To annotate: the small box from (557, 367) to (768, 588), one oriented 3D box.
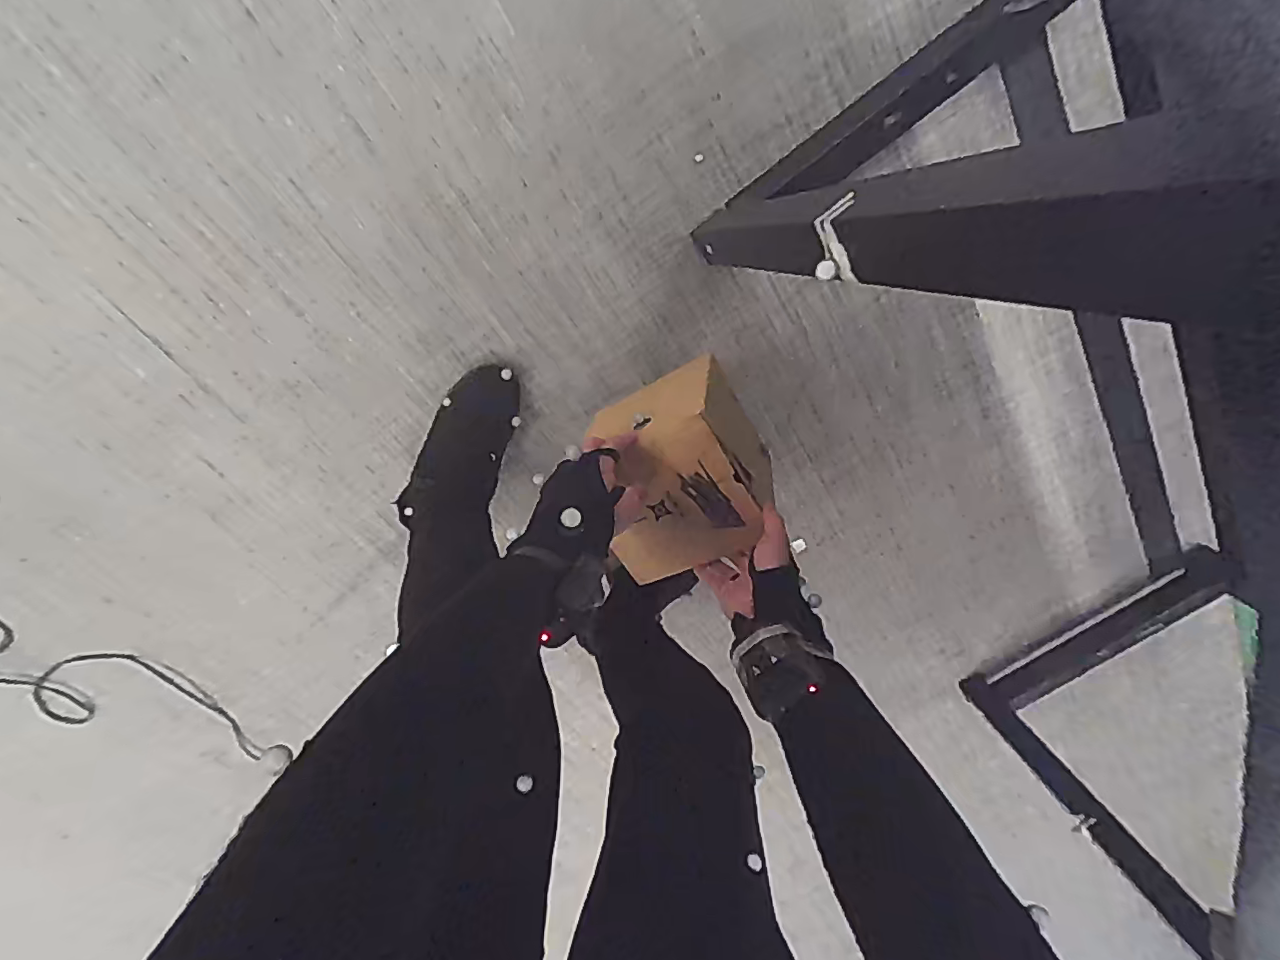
[{"bbox_3d":[0.036,-0.008,0.641,0.179,0.176,0.168,-25,113,25],"label":"small box"}]
